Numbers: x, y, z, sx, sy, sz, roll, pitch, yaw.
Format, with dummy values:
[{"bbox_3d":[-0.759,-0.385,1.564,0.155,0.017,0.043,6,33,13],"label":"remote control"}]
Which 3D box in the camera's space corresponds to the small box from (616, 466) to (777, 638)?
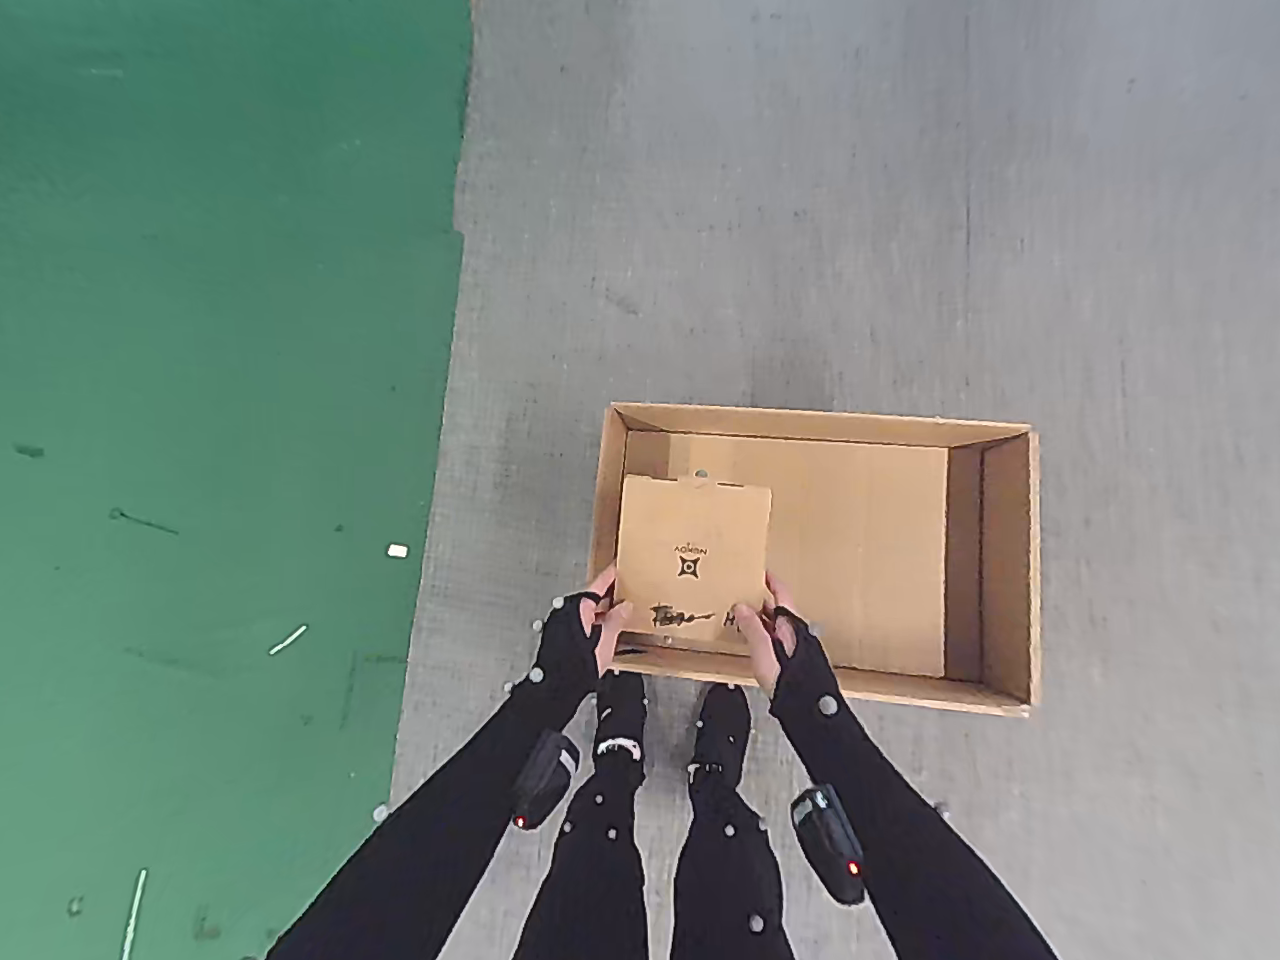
[{"bbox_3d":[0.072,0.082,0.680,0.168,0.176,0.179,6,88,8],"label":"small box"}]
